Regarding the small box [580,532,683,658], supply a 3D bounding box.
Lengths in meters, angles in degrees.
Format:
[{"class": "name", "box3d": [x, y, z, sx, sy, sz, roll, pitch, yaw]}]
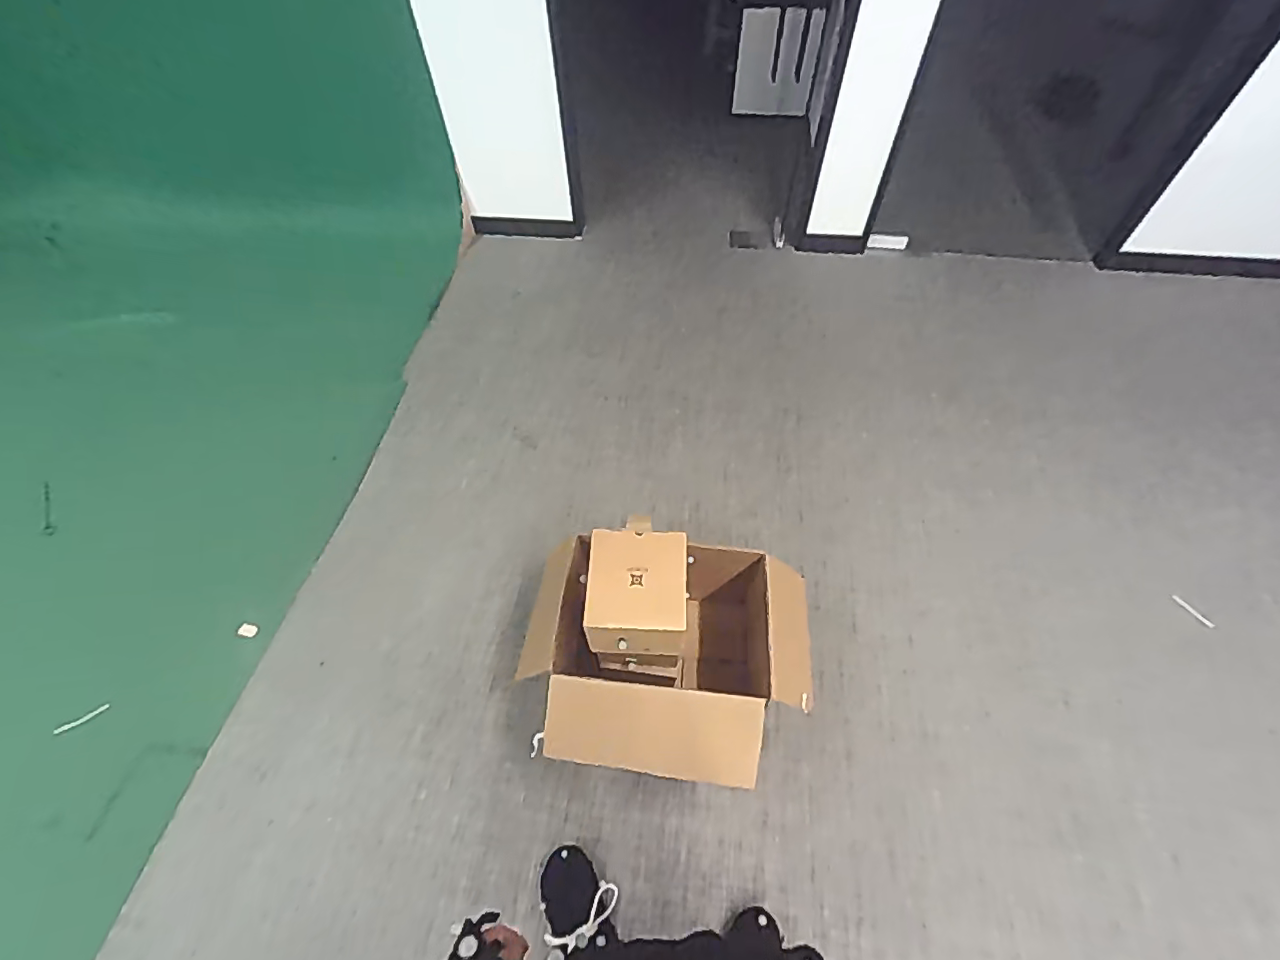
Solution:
[{"class": "small box", "box3d": [-0.008, 0.209, 0.956, 0.168, 0.176, 0.179, 1, 57, 2]}]

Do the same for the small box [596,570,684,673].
[{"class": "small box", "box3d": [-0.003, 0.280, 1.103, 0.168, 0.176, 0.179, 4, 59, 2]}]
